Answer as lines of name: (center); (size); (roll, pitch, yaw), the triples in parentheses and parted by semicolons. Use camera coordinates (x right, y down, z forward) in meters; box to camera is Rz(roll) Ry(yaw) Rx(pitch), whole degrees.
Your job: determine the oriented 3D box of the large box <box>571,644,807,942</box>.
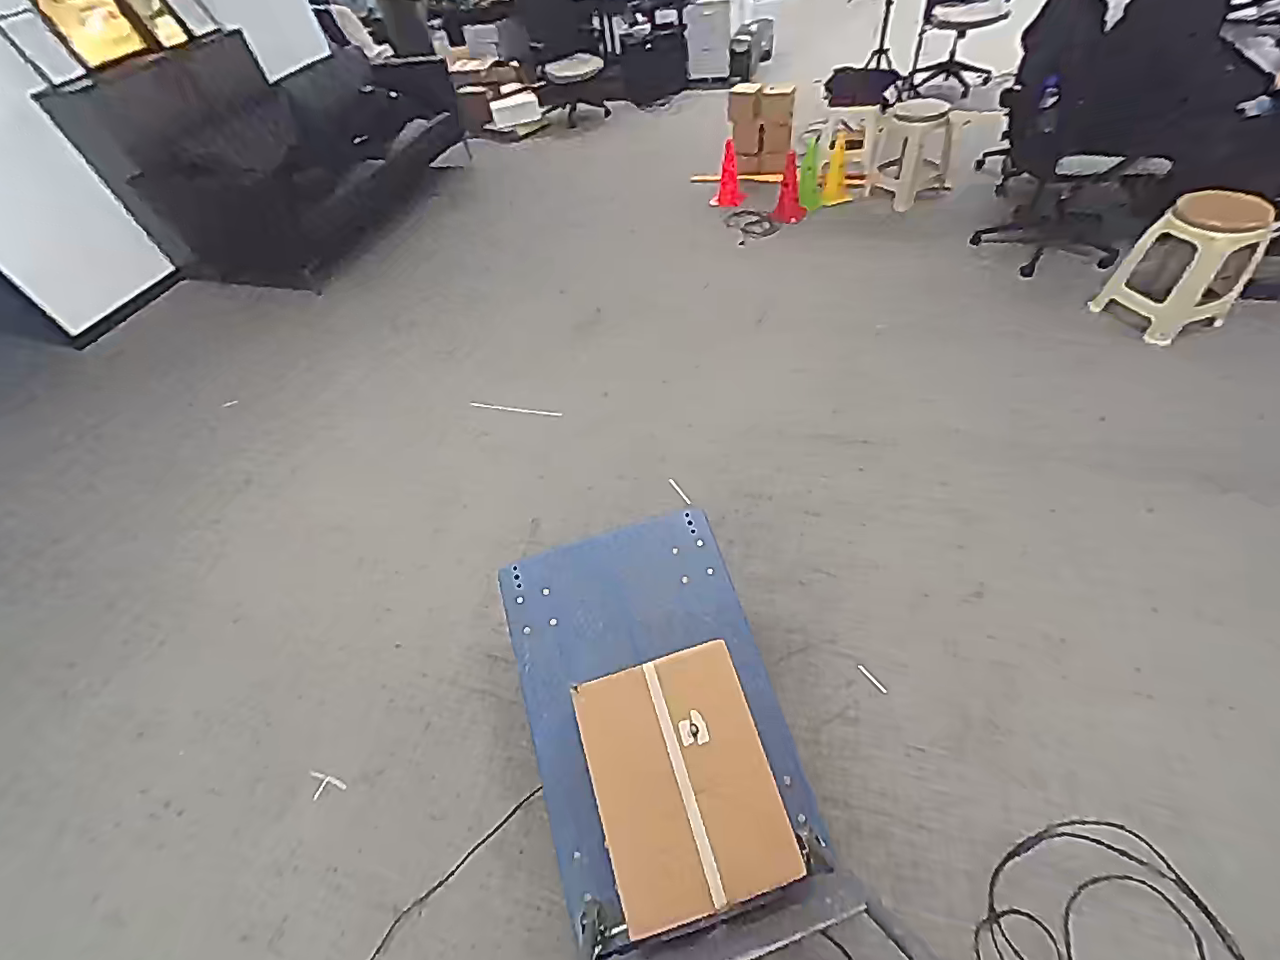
large box: (0.083, 0.595, 1.100); (0.320, 0.320, 0.408); (-17, 66, -6)
